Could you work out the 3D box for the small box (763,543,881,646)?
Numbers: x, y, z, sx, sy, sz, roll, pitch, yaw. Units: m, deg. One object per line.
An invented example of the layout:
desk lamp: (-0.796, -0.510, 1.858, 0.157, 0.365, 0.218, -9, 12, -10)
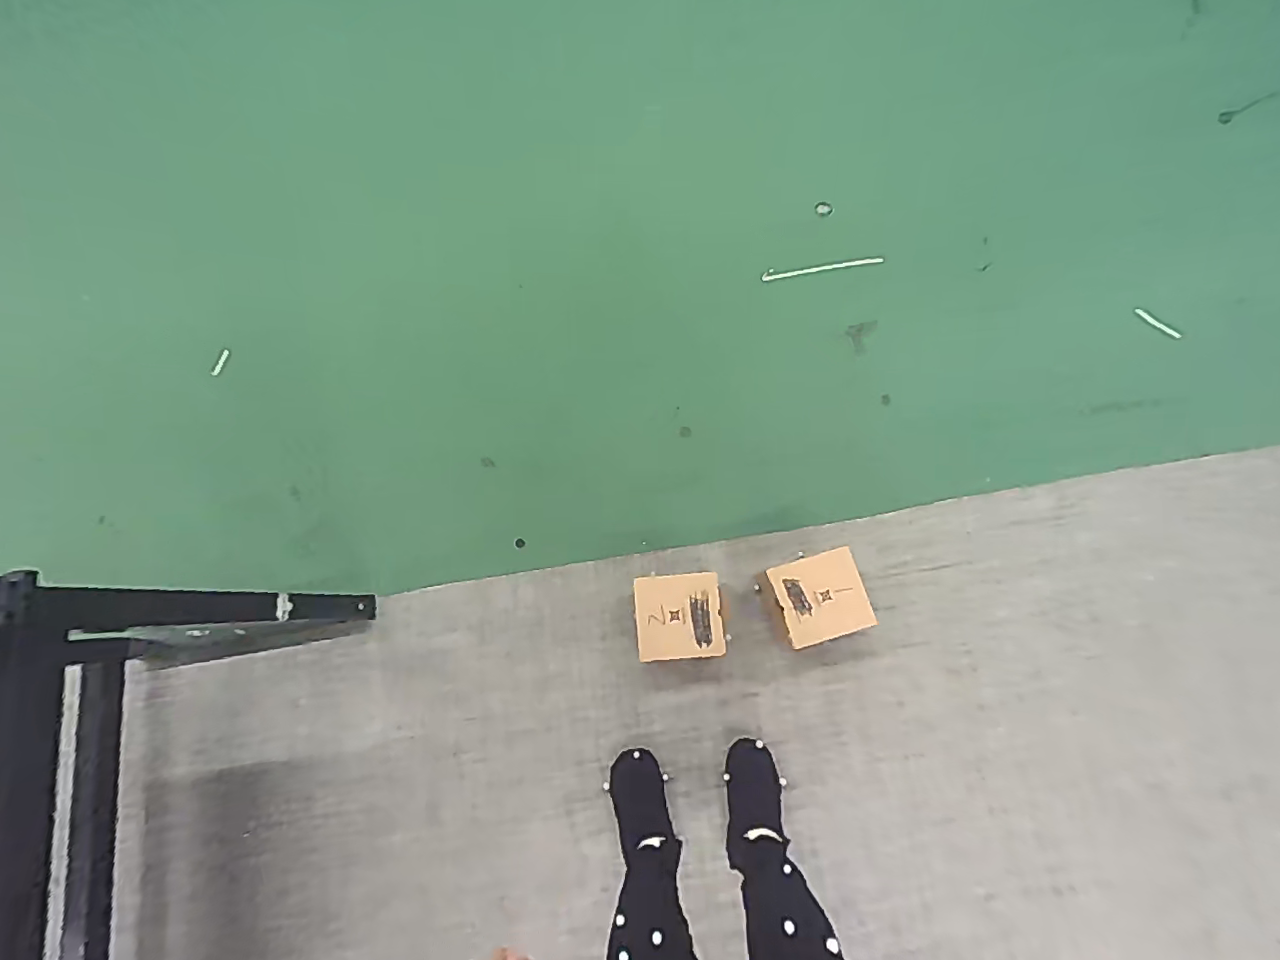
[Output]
small box: (0.369, 0.242, 1.140, 0.179, 0.176, 0.168, -17, 78, -1)
